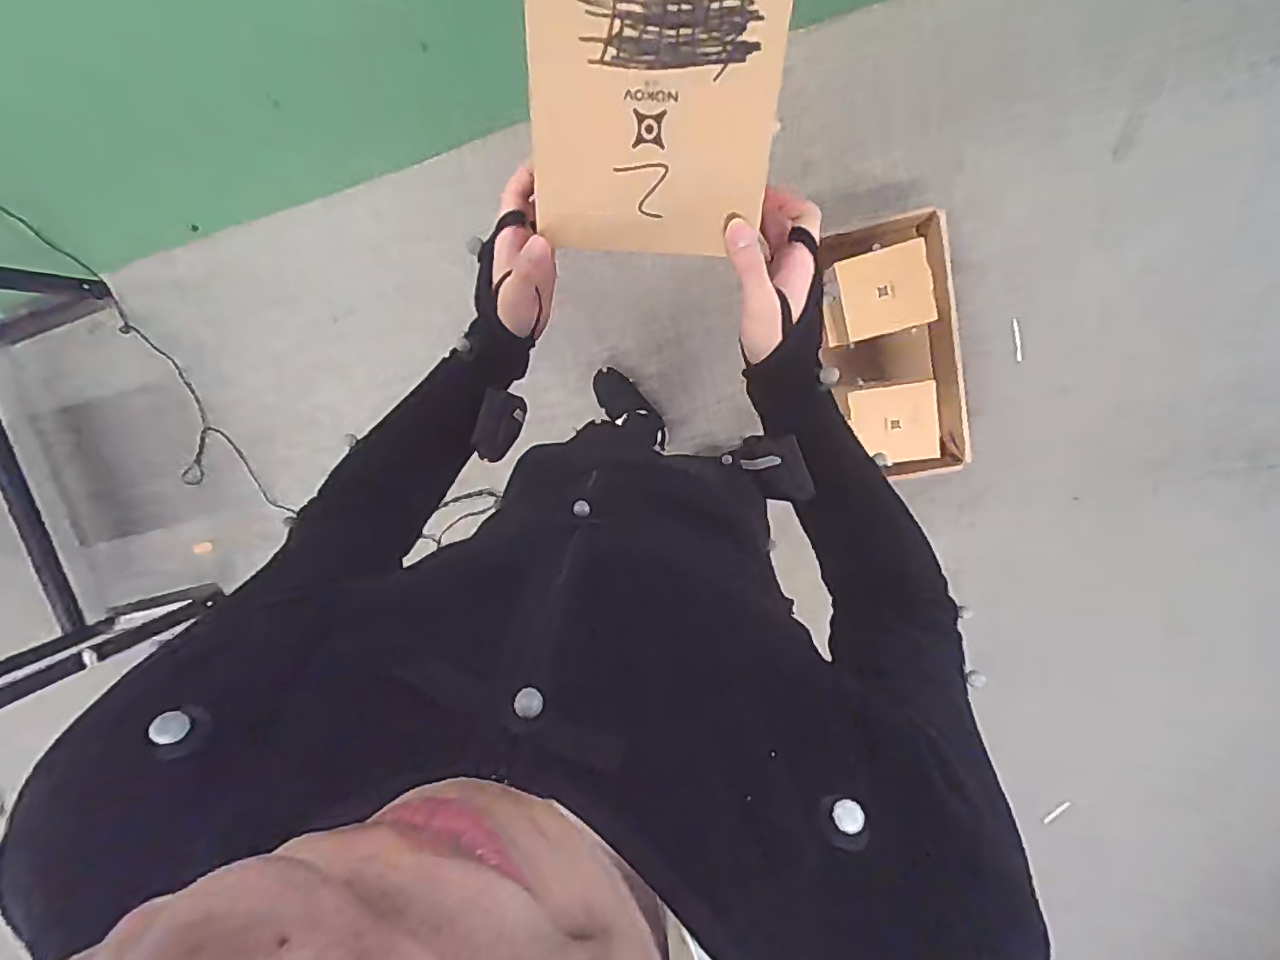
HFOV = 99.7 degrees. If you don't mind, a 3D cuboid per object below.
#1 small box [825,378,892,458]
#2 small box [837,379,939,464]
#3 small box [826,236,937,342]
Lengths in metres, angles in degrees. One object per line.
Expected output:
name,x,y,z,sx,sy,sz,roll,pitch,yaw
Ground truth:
small box,0.572,-0.161,1.374,0.168,0.176,0.179,-6,100,11
small box,0.548,-0.135,1.216,0.179,0.176,0.168,-6,101,11
small box,0.511,-0.402,1.170,0.179,0.176,0.168,-13,99,12
